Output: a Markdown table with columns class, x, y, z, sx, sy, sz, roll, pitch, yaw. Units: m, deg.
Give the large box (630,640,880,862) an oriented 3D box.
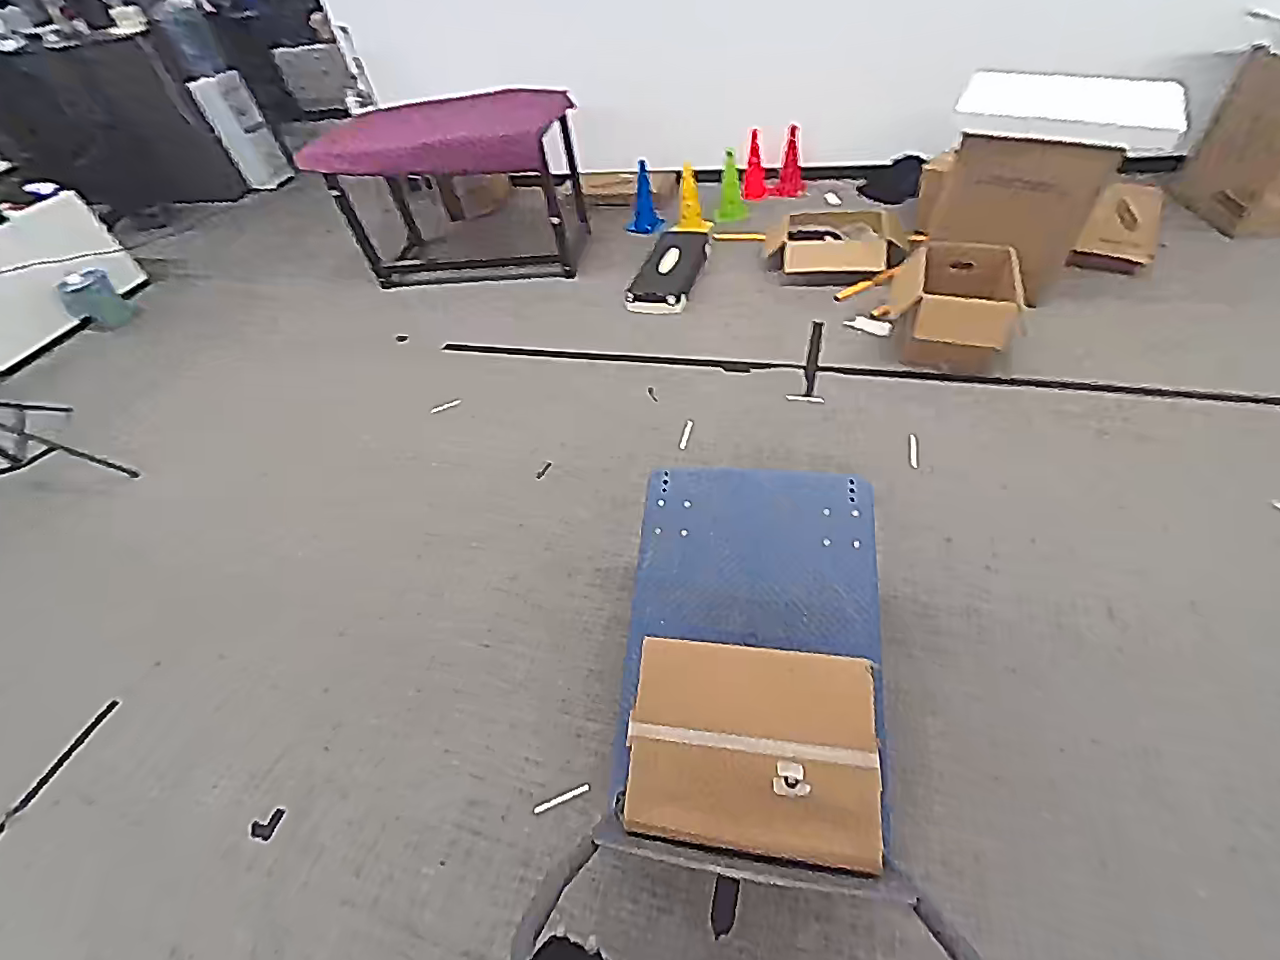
| class | x | y | z | sx | sy | sz | roll | pitch | yaw |
| --- | --- | --- | --- | --- | --- | --- | --- | --- | --- |
| large box | 0.211 | 0.511 | 1.062 | 0.408 | 0.320 | 0.320 | 3 | 66 | 10 |
